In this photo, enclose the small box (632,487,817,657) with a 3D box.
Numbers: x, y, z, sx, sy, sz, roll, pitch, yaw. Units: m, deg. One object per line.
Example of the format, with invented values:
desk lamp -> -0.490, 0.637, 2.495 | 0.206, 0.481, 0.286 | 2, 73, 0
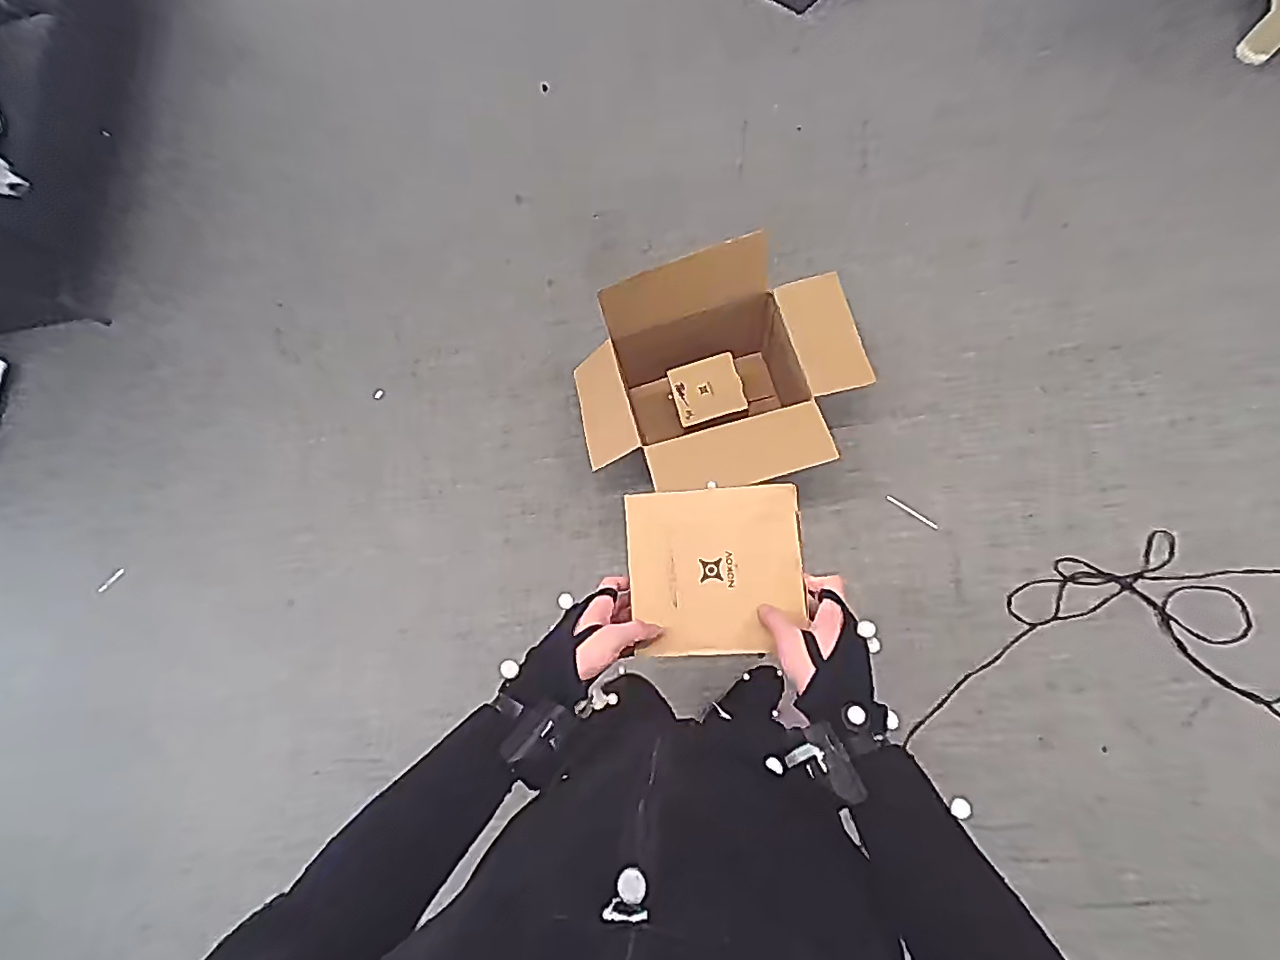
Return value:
small box -> 0.087, 0.103, 0.607 | 0.179, 0.176, 0.168 | -3, 78, 7
